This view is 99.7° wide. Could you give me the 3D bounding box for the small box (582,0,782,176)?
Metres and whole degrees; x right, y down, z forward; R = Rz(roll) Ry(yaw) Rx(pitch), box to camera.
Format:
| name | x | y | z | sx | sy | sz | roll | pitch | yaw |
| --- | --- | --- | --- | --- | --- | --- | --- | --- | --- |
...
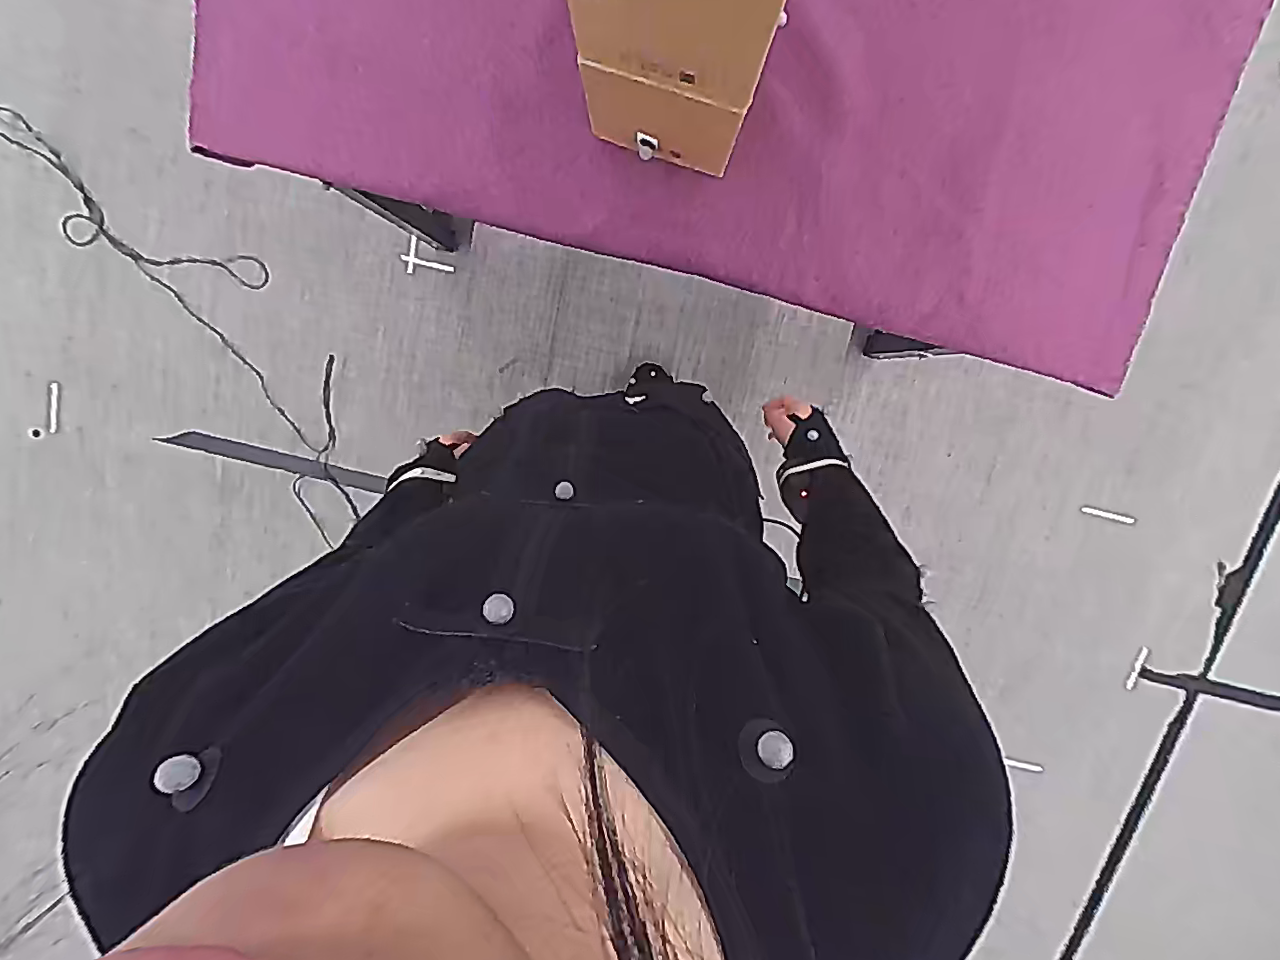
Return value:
| name | x | y | z | sx | sy | sz | roll | pitch | yaw |
| --- | --- | --- | --- | --- | --- | --- | --- | --- | --- |
| small box | 0.046 | -0.460 | 0.567 | 0.168 | 0.176 | 0.179 | 16 | 100 | -2 |
